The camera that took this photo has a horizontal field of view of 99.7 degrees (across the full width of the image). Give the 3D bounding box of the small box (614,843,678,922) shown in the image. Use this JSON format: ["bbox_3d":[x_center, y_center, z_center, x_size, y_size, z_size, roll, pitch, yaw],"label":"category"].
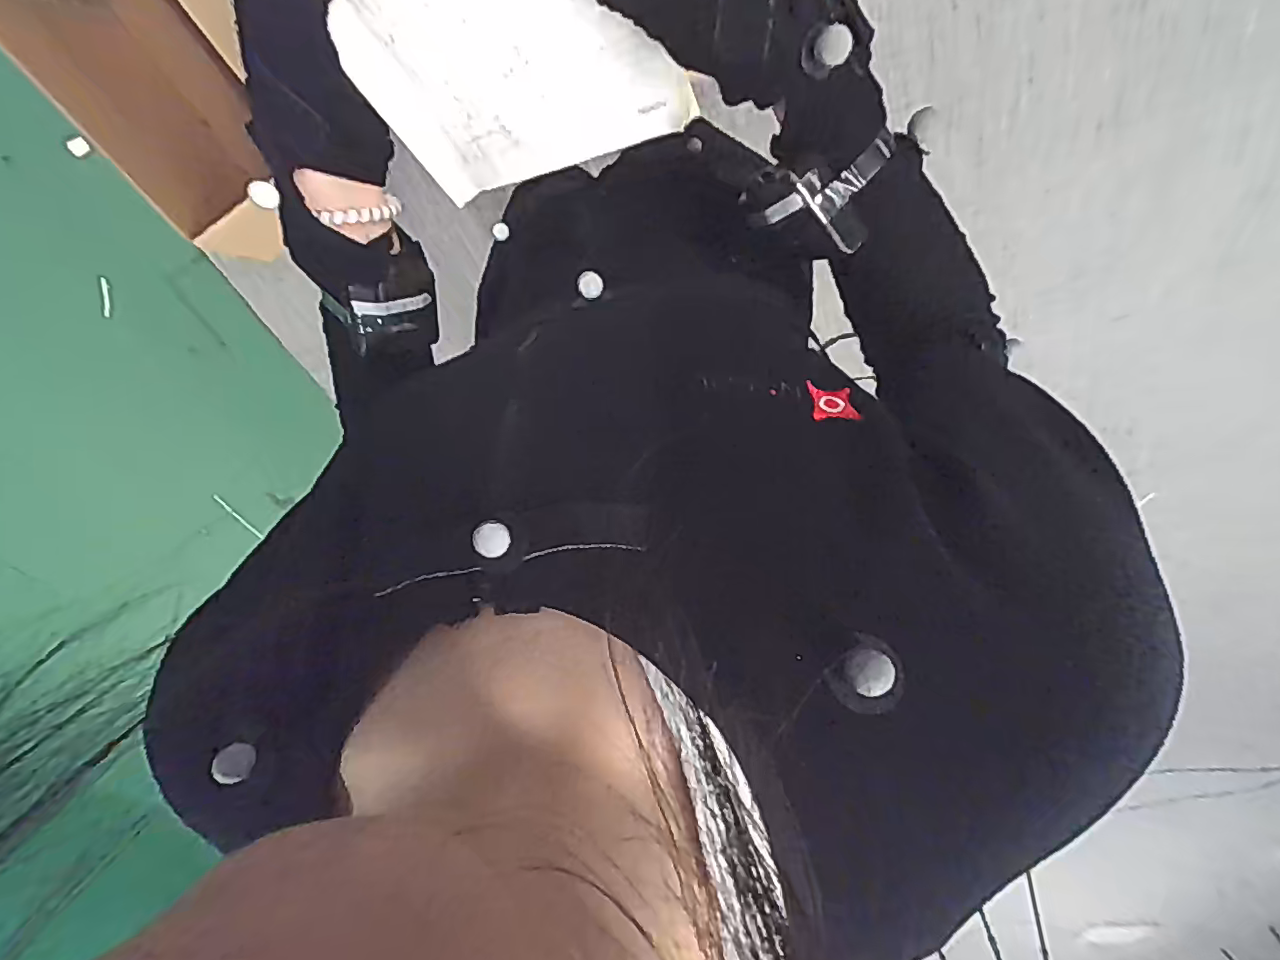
[{"bbox_3d":[0.025,1.319,1.774,0.168,0.176,0.179,-15,126,12],"label":"small box"}]

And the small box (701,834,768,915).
[{"bbox_3d":[0.296,1.241,1.708,0.168,0.176,0.179,-15,127,13],"label":"small box"}]
